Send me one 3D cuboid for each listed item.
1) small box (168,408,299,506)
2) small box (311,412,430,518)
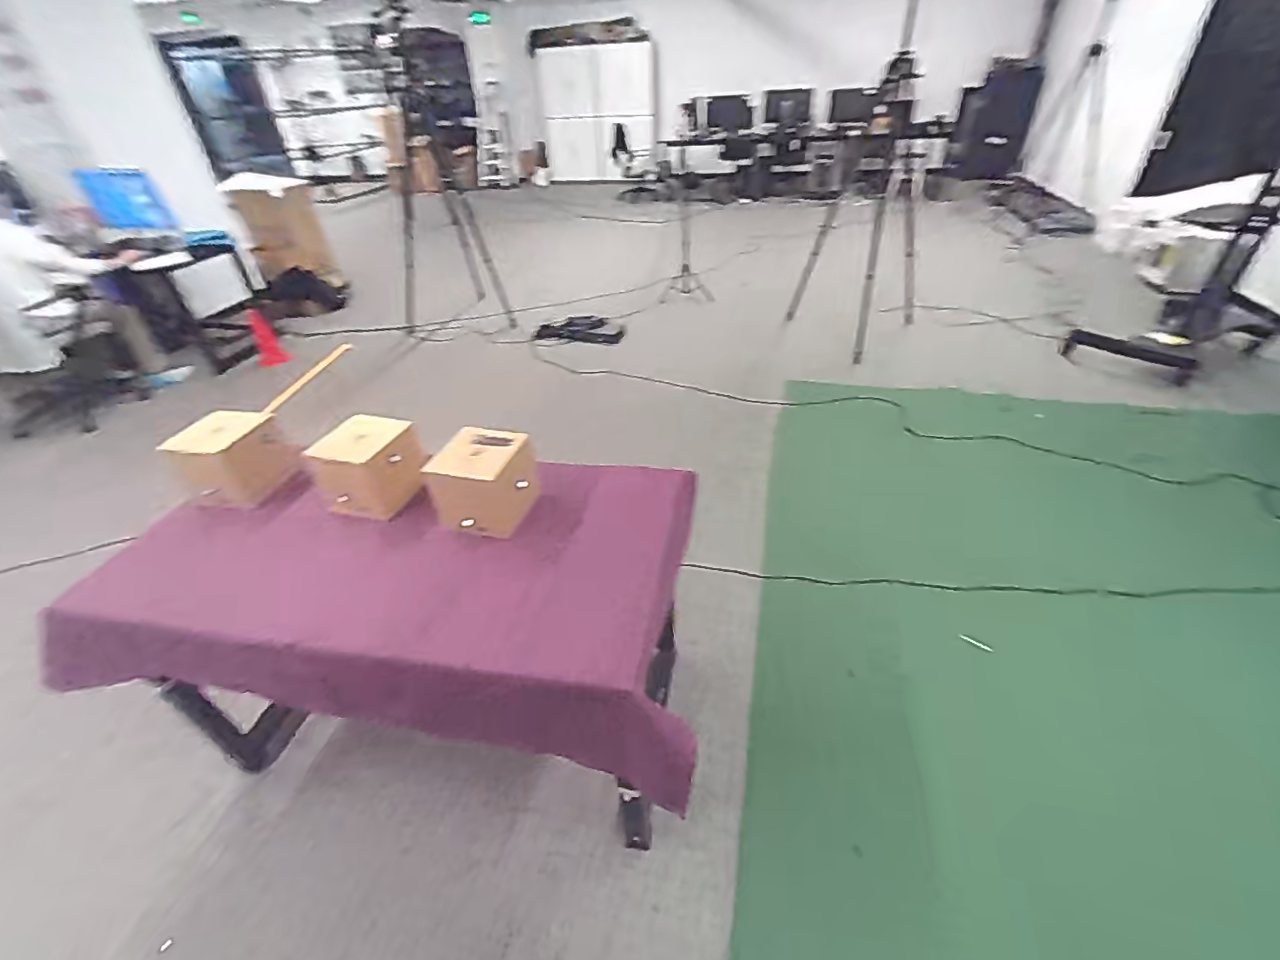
[{"bbox_3d":[-0.992,-0.059,1.344,0.168,0.176,0.179,5,38,11],"label":"small box"},{"bbox_3d":[-0.628,-0.038,1.290,0.168,0.176,0.179,9,40,17],"label":"small box"}]
